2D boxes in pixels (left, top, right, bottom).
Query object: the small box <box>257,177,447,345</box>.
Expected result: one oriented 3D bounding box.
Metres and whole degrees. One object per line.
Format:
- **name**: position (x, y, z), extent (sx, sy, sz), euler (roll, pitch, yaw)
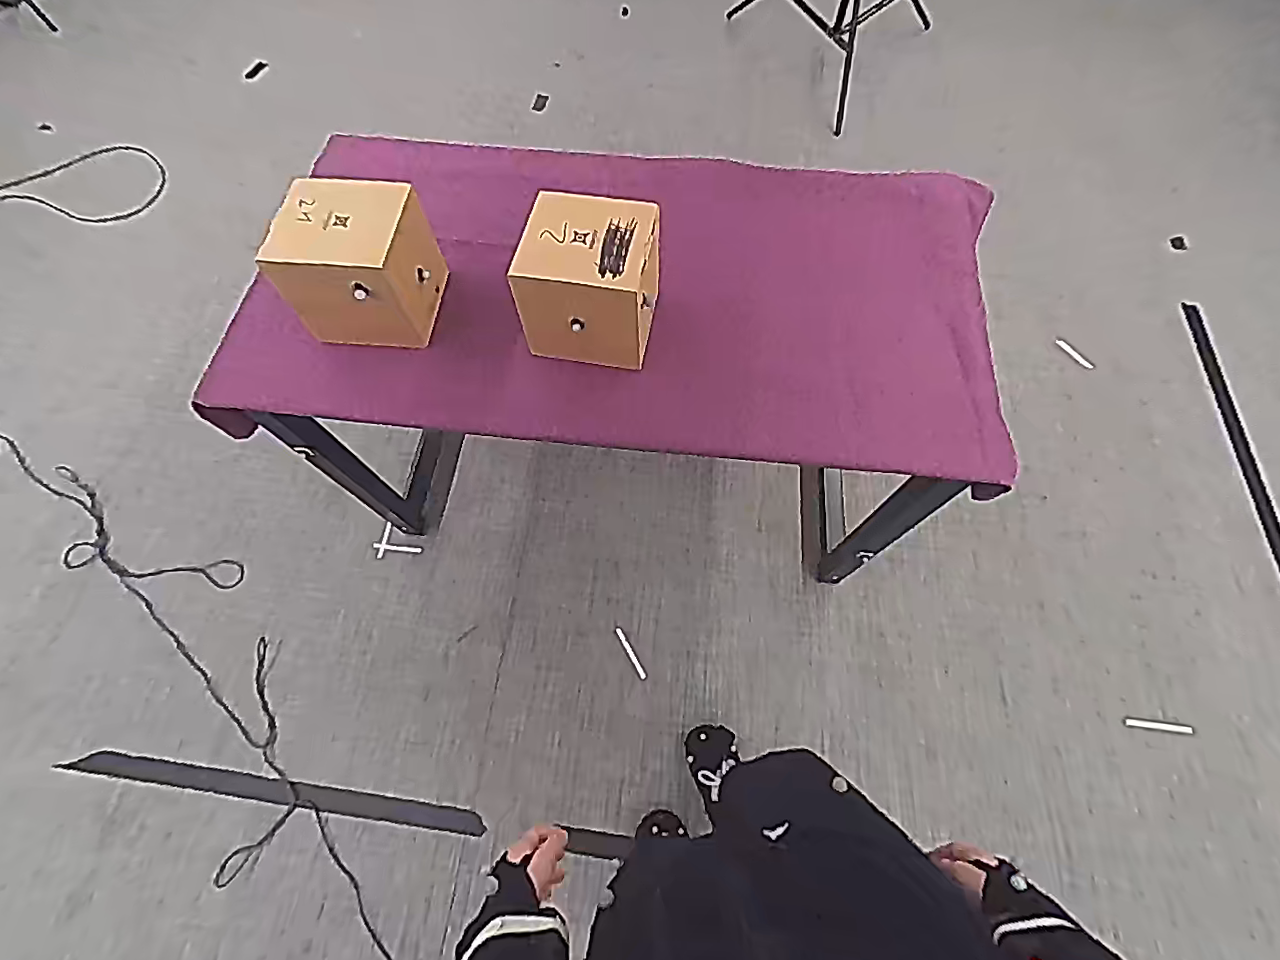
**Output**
- **small box**: position (-0.414, -0.322, 0.815), extent (0.179, 0.176, 0.168), euler (4, 65, 2)
